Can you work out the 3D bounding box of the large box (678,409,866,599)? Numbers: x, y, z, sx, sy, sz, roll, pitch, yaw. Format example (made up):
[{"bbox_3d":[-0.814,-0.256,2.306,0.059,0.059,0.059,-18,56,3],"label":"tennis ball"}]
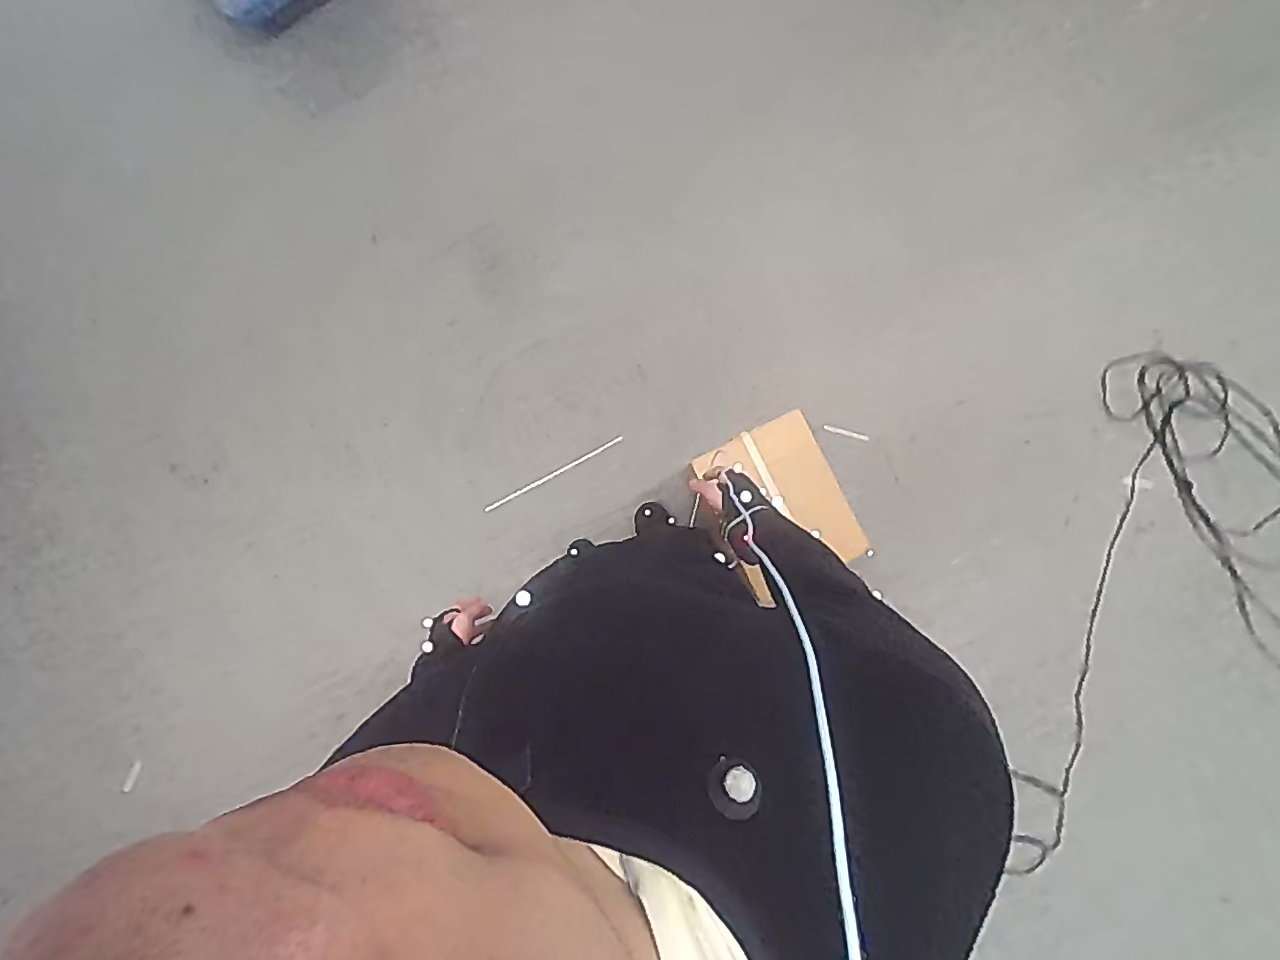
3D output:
[{"bbox_3d":[0.342,0.067,1.513,0.320,0.320,0.408,-26,87,-2],"label":"large box"}]
